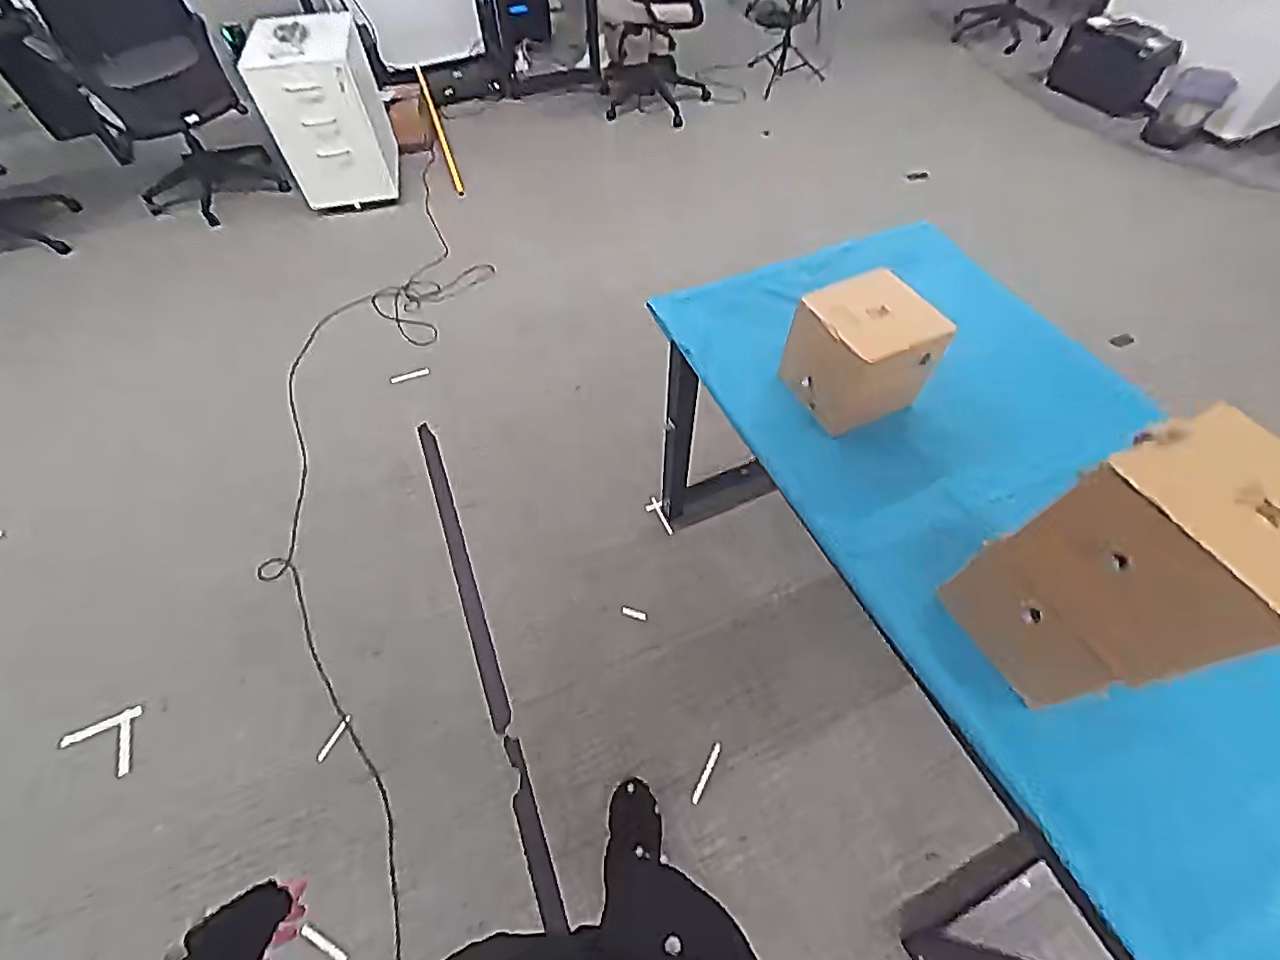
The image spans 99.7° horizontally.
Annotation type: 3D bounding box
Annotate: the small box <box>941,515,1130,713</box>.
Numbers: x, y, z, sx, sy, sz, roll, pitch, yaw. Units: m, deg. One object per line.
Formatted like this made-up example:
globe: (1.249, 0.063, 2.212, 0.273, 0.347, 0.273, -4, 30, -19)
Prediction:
small box: (0.509, 0.150, 0.648, 0.168, 0.176, 0.179, -21, 59, -12)

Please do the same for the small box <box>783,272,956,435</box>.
small box: (0.358, -0.203, 0.883, 0.179, 0.176, 0.168, -20, 57, -10)

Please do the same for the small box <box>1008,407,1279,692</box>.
small box: (0.505, 0.069, 0.507, 0.168, 0.176, 0.179, -24, 60, -15)
